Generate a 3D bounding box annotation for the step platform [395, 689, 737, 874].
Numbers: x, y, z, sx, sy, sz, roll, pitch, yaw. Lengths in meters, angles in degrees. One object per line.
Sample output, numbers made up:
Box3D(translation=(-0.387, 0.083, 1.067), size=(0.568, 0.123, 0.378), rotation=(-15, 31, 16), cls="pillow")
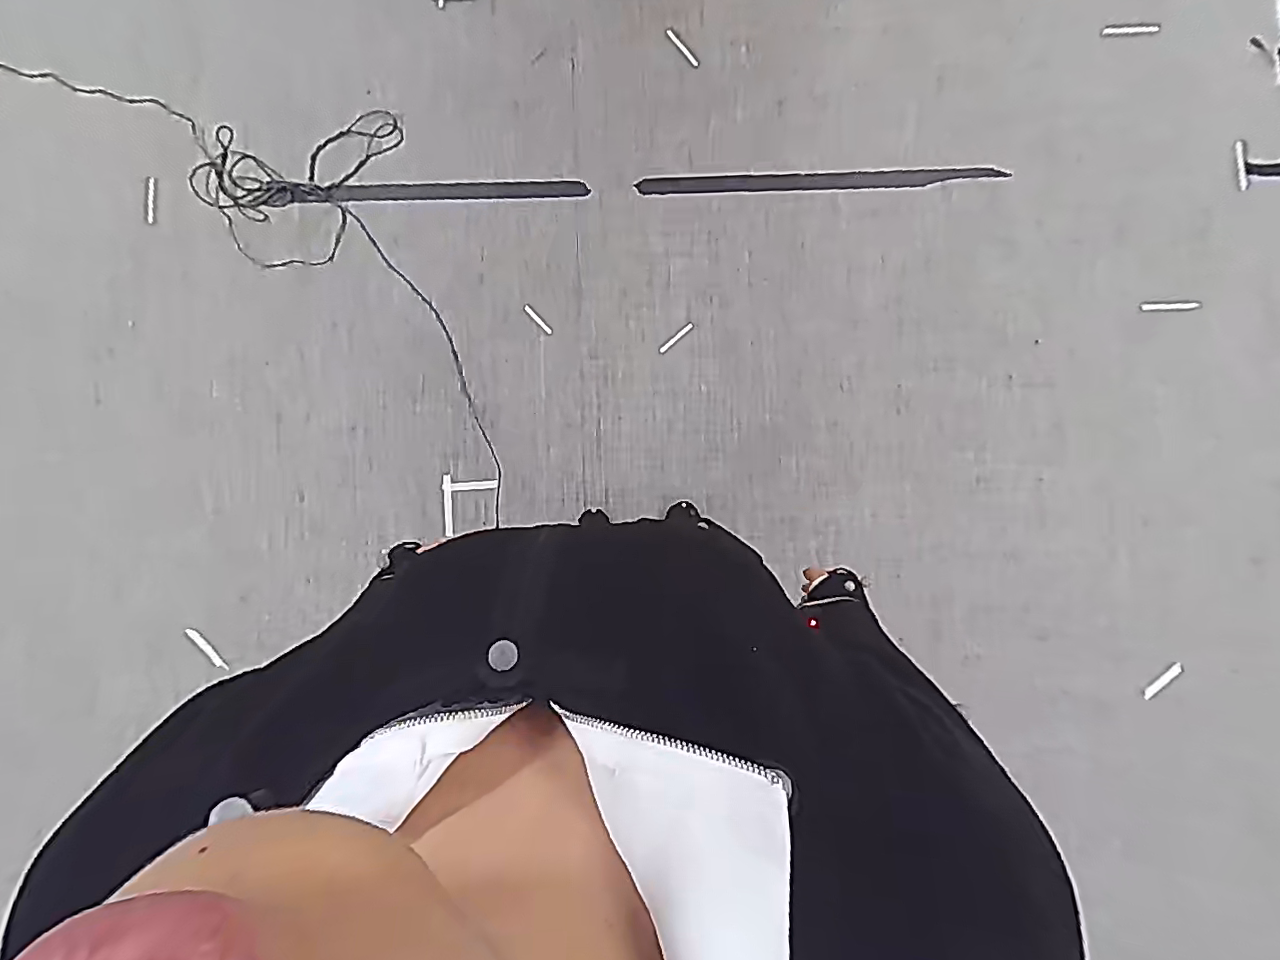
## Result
Box3D(translation=(-0.147, 0.631, 1.167), size=(0.684, 0.204, 0.286), rotation=(-3, 87, 2), cls="step platform")
